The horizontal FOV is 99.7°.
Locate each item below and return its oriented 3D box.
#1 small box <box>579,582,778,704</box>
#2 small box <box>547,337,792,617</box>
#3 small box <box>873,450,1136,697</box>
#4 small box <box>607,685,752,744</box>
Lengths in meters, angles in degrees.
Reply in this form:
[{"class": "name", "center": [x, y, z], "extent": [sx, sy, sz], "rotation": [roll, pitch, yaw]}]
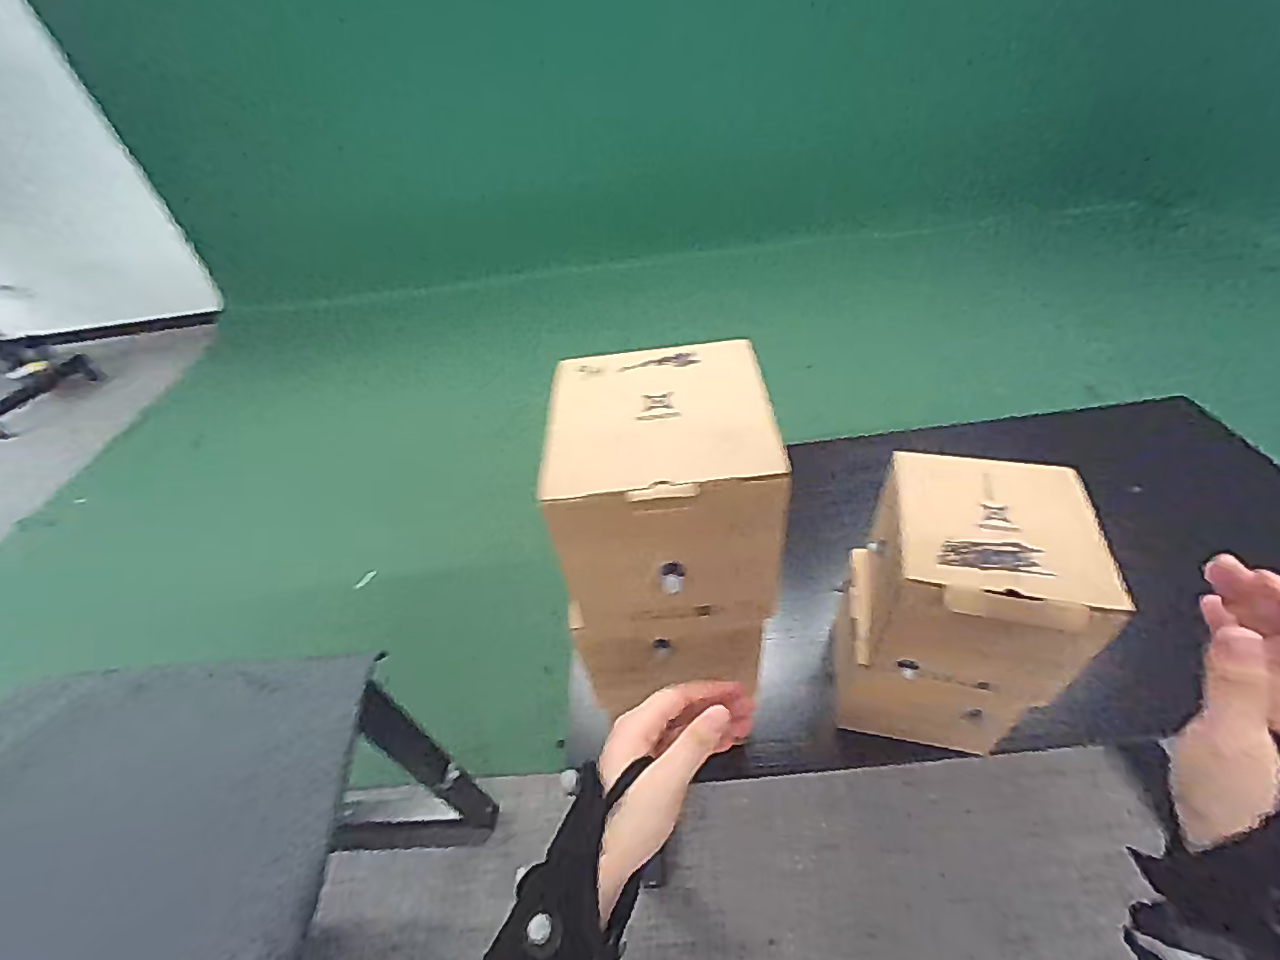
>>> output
[{"class": "small box", "center": [0.038, 0.122, 0.578], "extent": [0.179, 0.176, 0.168], "rotation": [-6, 44, 3]}, {"class": "small box", "center": [0.029, 0.004, 0.463], "extent": [0.168, 0.176, 0.179], "rotation": [-6, 45, 5]}, {"class": "small box", "center": [0.342, 0.094, 0.552], "extent": [0.168, 0.176, 0.179], "rotation": [7, 45, 16]}, {"class": "small box", "center": [0.050, 0.227, 0.702], "extent": [0.168, 0.176, 0.179], "rotation": [-6, 44, 3]}]
